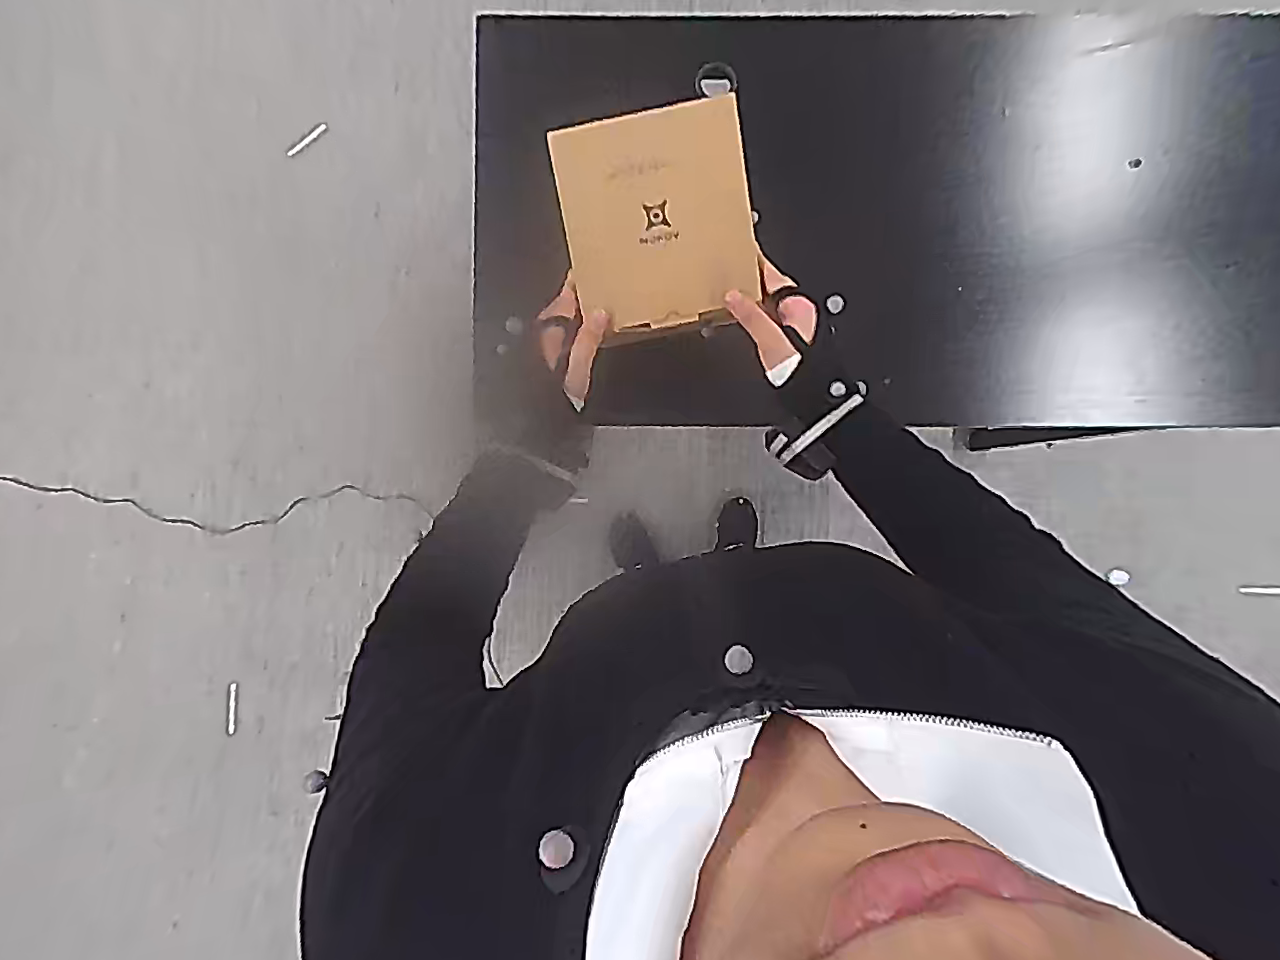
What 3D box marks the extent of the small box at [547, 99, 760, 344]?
[{"bbox_3d":[0.016,-0.239,0.552,0.168,0.176,0.179,-11,100,3],"label":"small box"}]
